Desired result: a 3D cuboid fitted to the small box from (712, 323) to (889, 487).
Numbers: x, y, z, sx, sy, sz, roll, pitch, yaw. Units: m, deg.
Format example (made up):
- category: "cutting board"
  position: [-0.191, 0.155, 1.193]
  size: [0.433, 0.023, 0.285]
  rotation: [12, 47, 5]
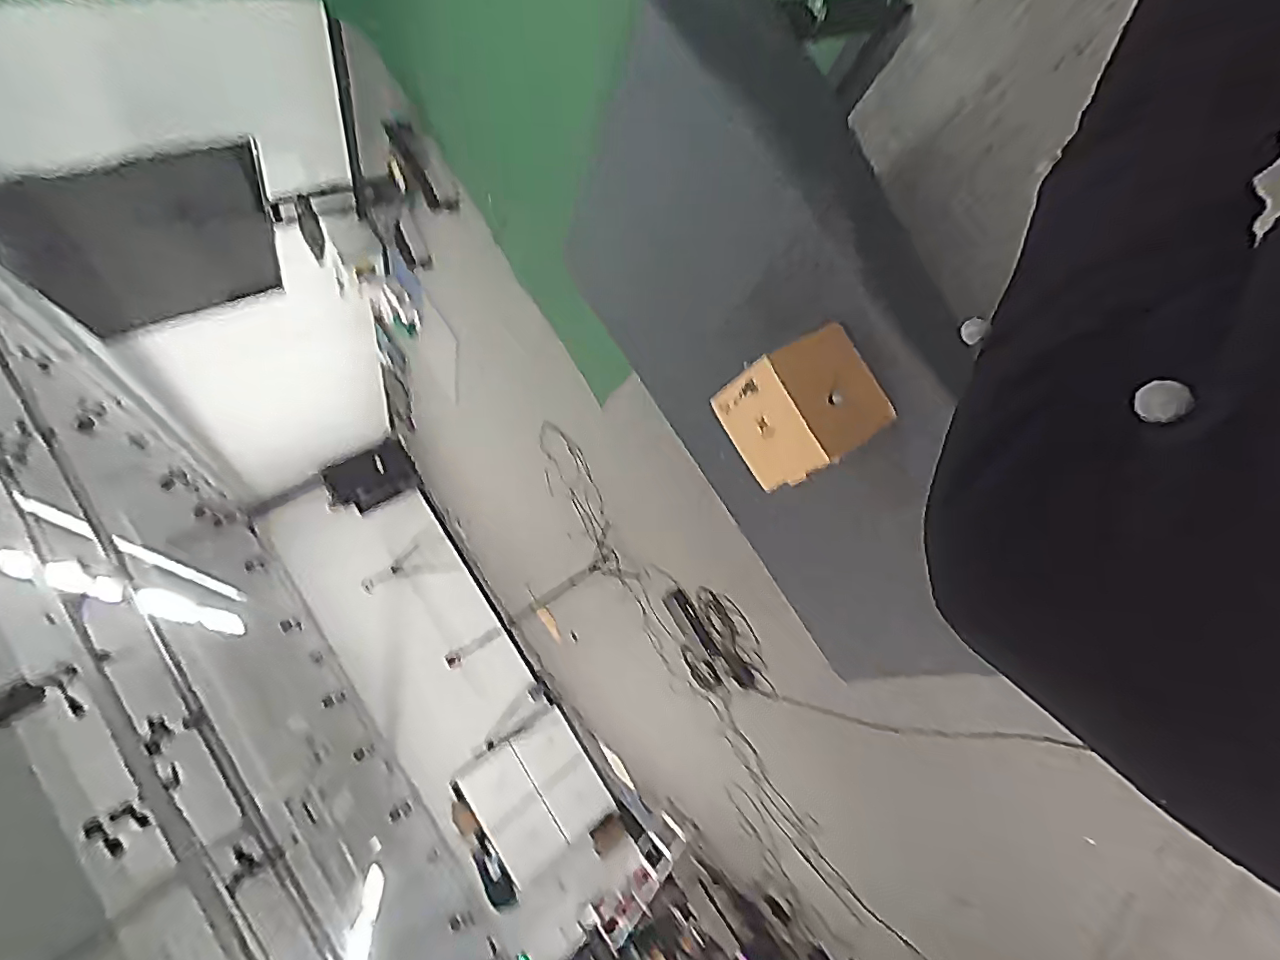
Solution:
- category: "small box"
  position: [0.255, -0.117, 0.862]
  size: [0.179, 0.176, 0.168]
  rotation: [59, 154, 2]
